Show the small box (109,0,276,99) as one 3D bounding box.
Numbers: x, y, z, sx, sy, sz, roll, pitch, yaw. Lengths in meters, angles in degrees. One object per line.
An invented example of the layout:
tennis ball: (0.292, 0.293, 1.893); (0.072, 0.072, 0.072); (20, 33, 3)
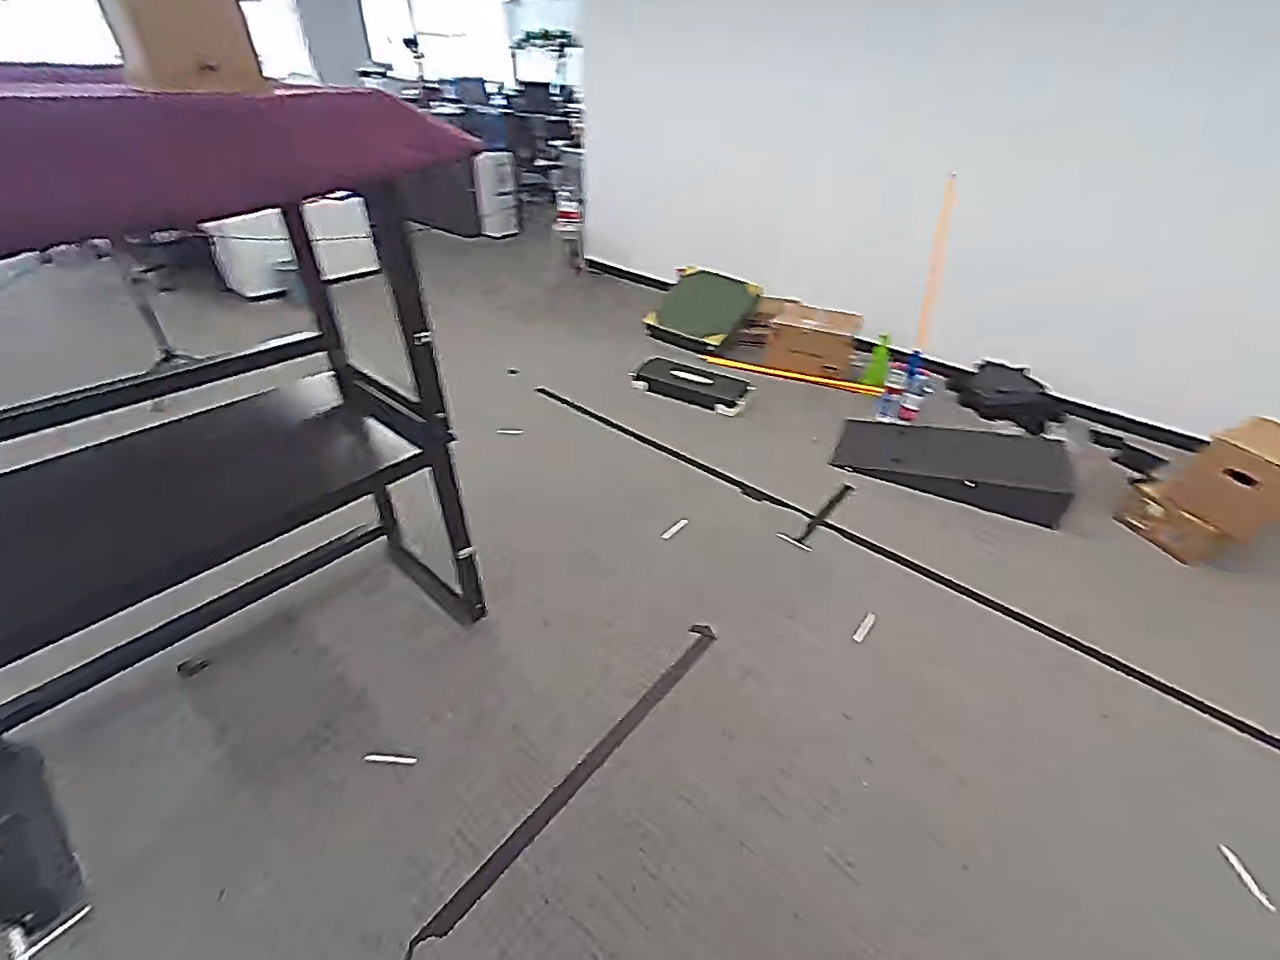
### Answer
small box: (-0.742, -0.743, 0.898); (0.168, 0.176, 0.179); (28, 44, 31)
